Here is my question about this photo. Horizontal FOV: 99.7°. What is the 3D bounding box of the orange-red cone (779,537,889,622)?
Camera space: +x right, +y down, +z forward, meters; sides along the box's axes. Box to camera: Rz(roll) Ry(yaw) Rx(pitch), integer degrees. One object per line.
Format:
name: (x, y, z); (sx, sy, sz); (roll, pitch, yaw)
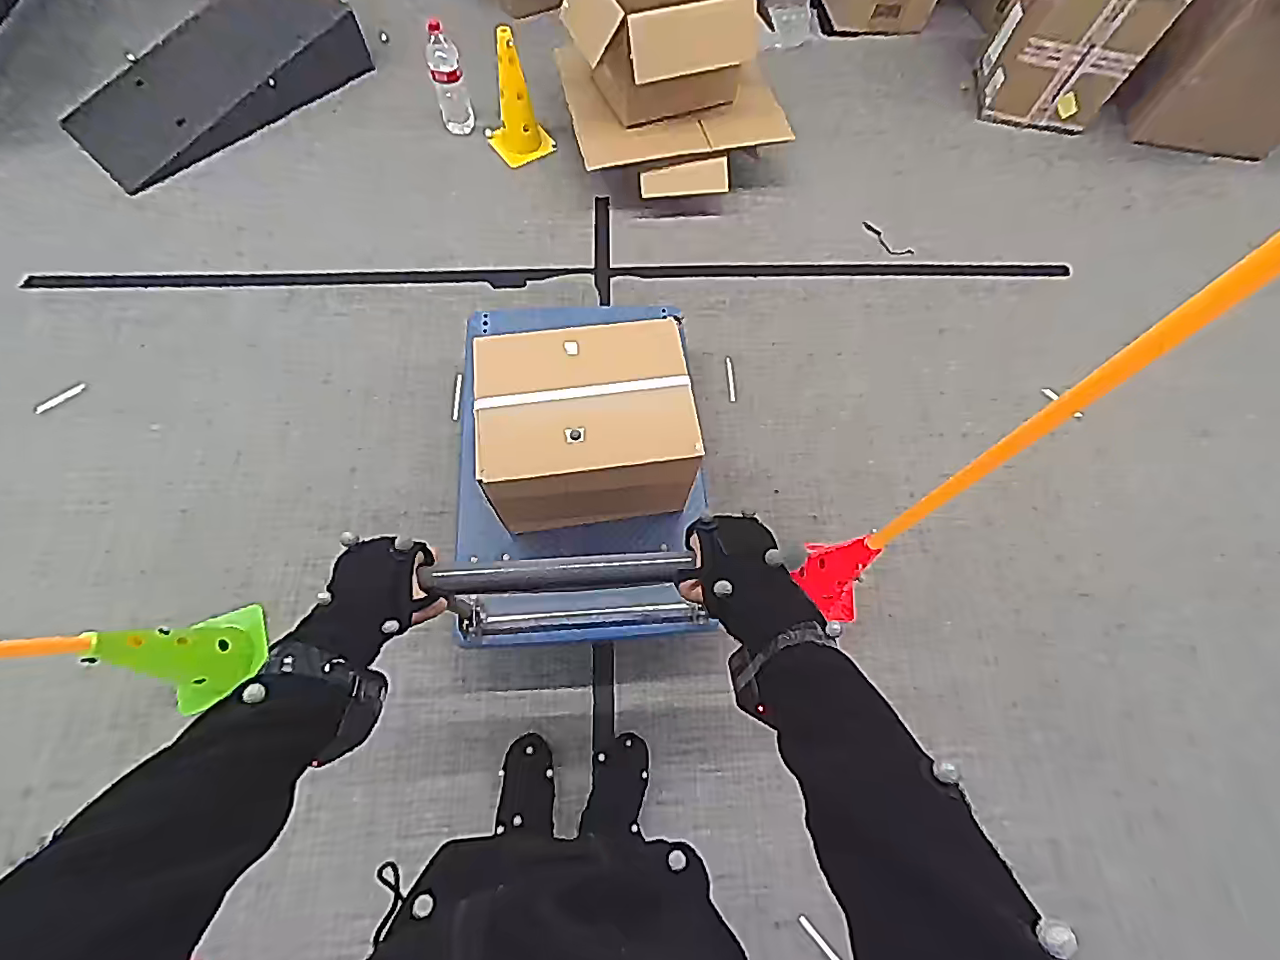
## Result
orange-red cone: (0.464, 0.193, 1.222); (0.199, 0.360, 0.198); (5, 68, -2)
